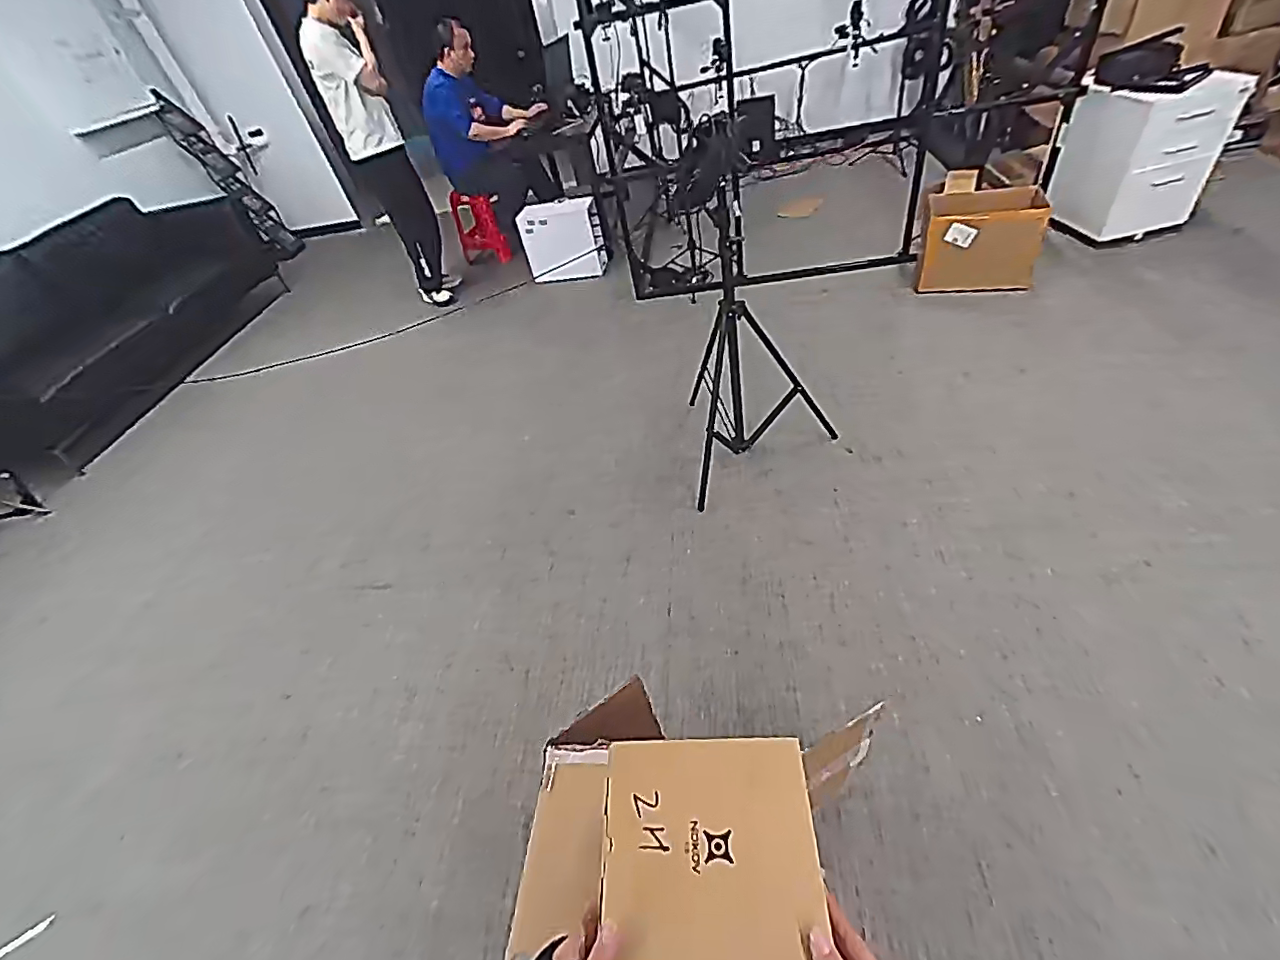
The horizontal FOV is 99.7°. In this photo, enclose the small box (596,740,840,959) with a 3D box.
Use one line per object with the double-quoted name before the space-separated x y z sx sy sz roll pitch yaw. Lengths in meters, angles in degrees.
"small box" 0.065 0.350 0.489 0.179 0.176 0.168 -5 45 6
